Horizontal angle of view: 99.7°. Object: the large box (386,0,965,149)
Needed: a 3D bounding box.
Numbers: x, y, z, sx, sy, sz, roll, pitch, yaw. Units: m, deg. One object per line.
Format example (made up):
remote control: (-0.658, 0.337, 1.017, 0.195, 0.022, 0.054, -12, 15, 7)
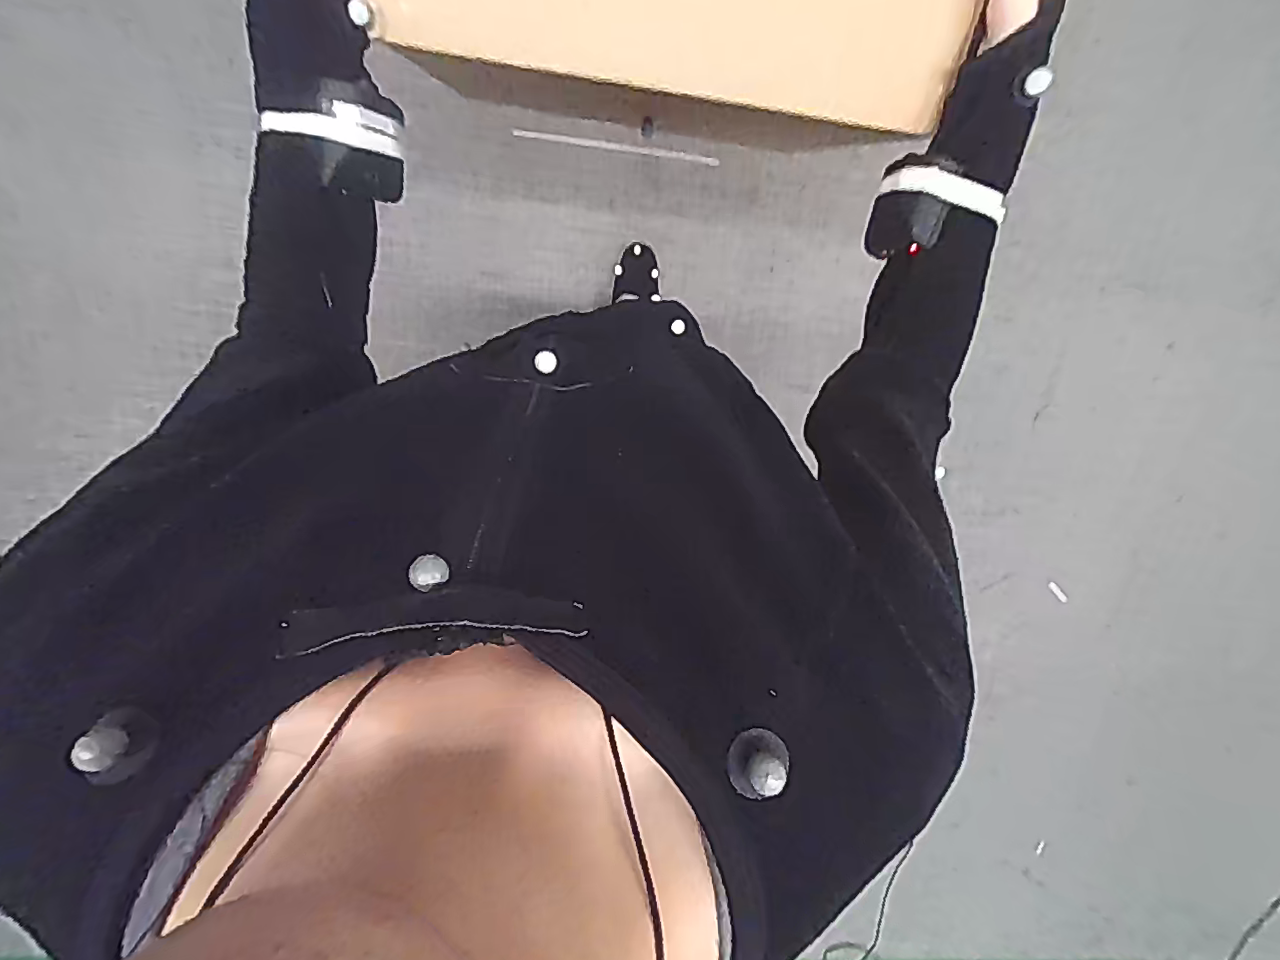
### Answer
large box: (0.030, -0.482, 0.453, 0.408, 0.320, 0.320, 3, 118, -8)
